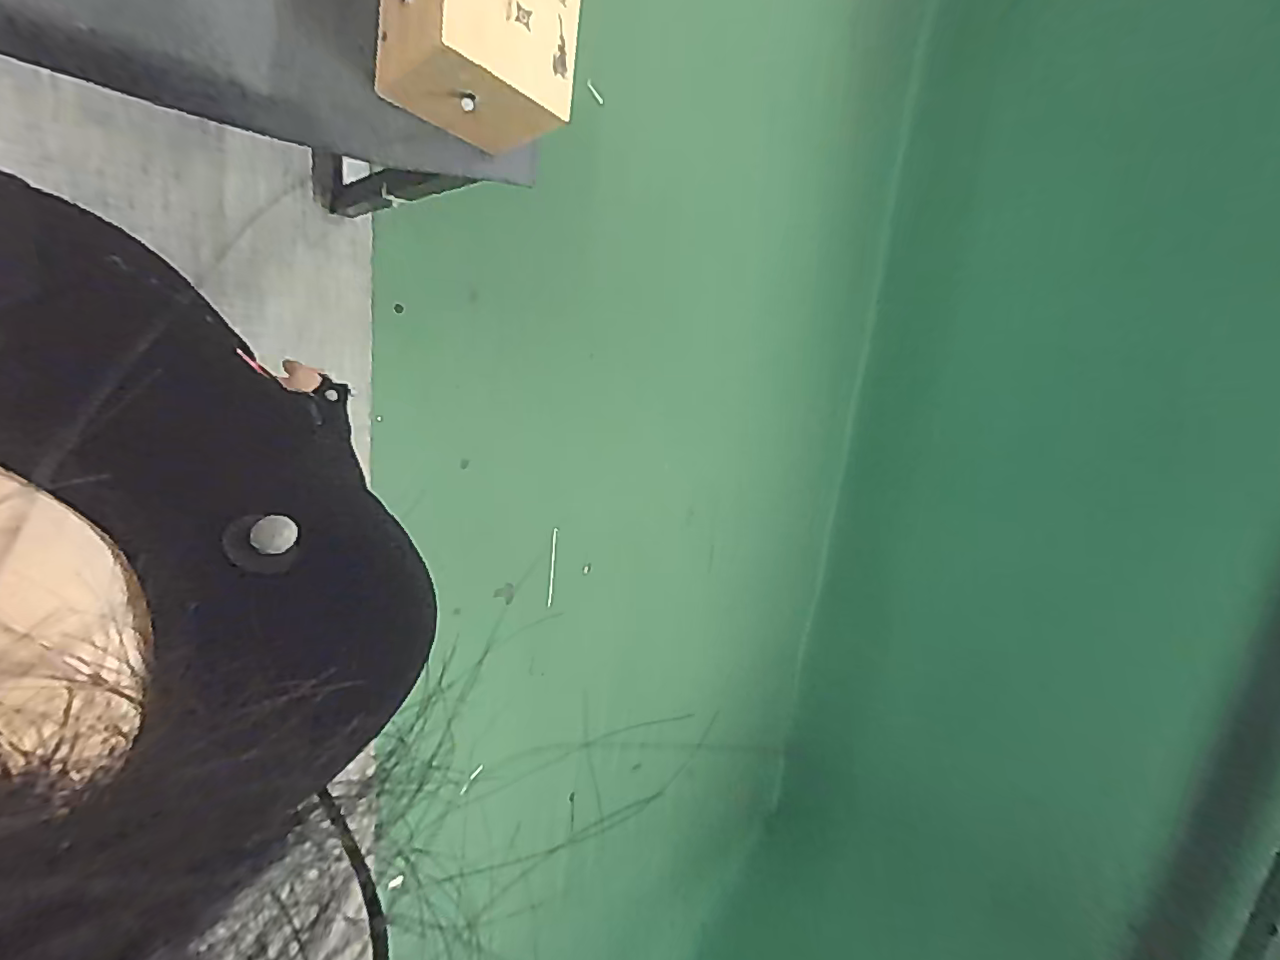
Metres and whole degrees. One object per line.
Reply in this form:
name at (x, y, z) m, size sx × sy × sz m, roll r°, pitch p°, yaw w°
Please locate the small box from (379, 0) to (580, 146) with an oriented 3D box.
small box at (-0.197, -0.542, 0.658) m, size 0.179 × 0.176 × 0.168 m, roll 1°, pitch 99°, yaw -47°
